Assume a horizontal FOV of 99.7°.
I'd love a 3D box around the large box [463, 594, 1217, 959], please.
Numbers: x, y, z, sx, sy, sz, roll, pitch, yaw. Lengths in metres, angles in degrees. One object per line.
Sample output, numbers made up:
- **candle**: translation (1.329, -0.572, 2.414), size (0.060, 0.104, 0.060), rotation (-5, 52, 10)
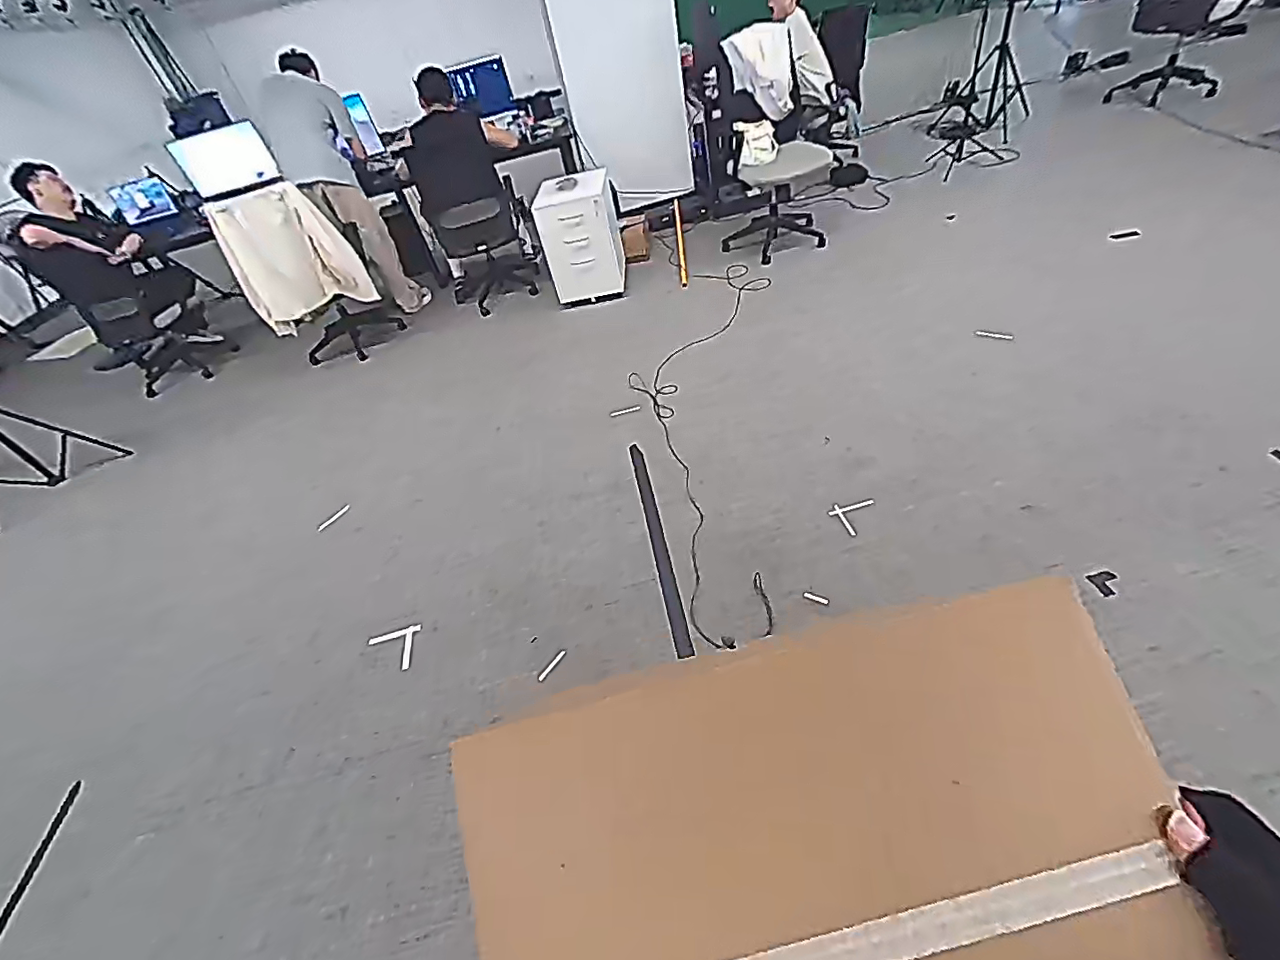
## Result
- **large box**: translation (0.127, 0.309, 0.454), size (0.408, 0.320, 0.320), rotation (-16, 73, 0)
